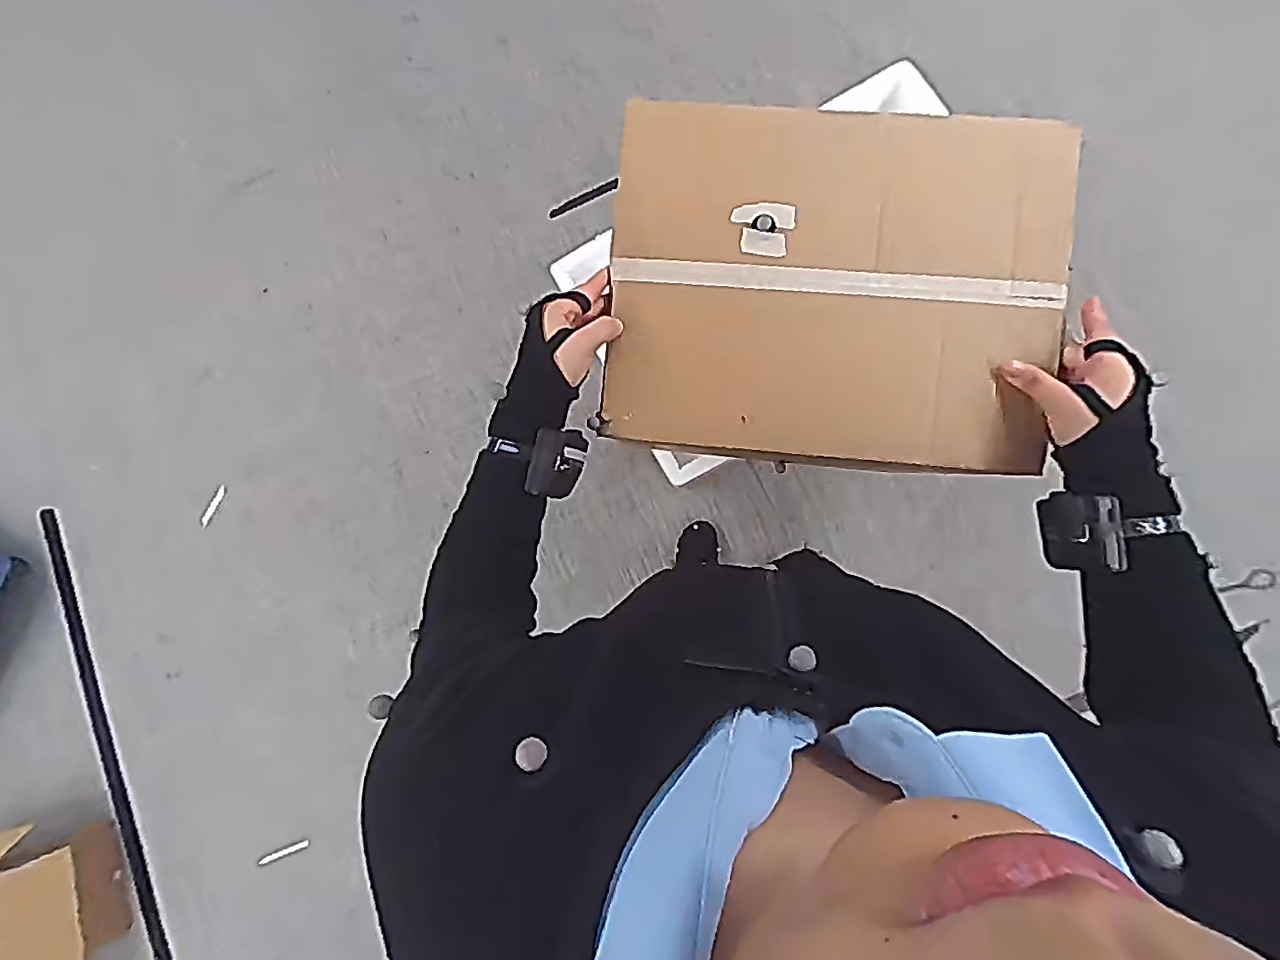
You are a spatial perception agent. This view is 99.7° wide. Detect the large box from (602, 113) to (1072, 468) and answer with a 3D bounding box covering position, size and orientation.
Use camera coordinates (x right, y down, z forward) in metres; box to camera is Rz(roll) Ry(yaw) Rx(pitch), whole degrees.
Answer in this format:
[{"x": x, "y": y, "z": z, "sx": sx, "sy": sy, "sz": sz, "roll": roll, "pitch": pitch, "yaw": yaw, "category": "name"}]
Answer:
[{"x": 0.185, "y": -0.179, "z": 0.637, "sx": 0.408, "sy": 0.320, "sz": 0.320, "roll": 4, "pitch": 90, "yaw": 5, "category": "large box"}]
